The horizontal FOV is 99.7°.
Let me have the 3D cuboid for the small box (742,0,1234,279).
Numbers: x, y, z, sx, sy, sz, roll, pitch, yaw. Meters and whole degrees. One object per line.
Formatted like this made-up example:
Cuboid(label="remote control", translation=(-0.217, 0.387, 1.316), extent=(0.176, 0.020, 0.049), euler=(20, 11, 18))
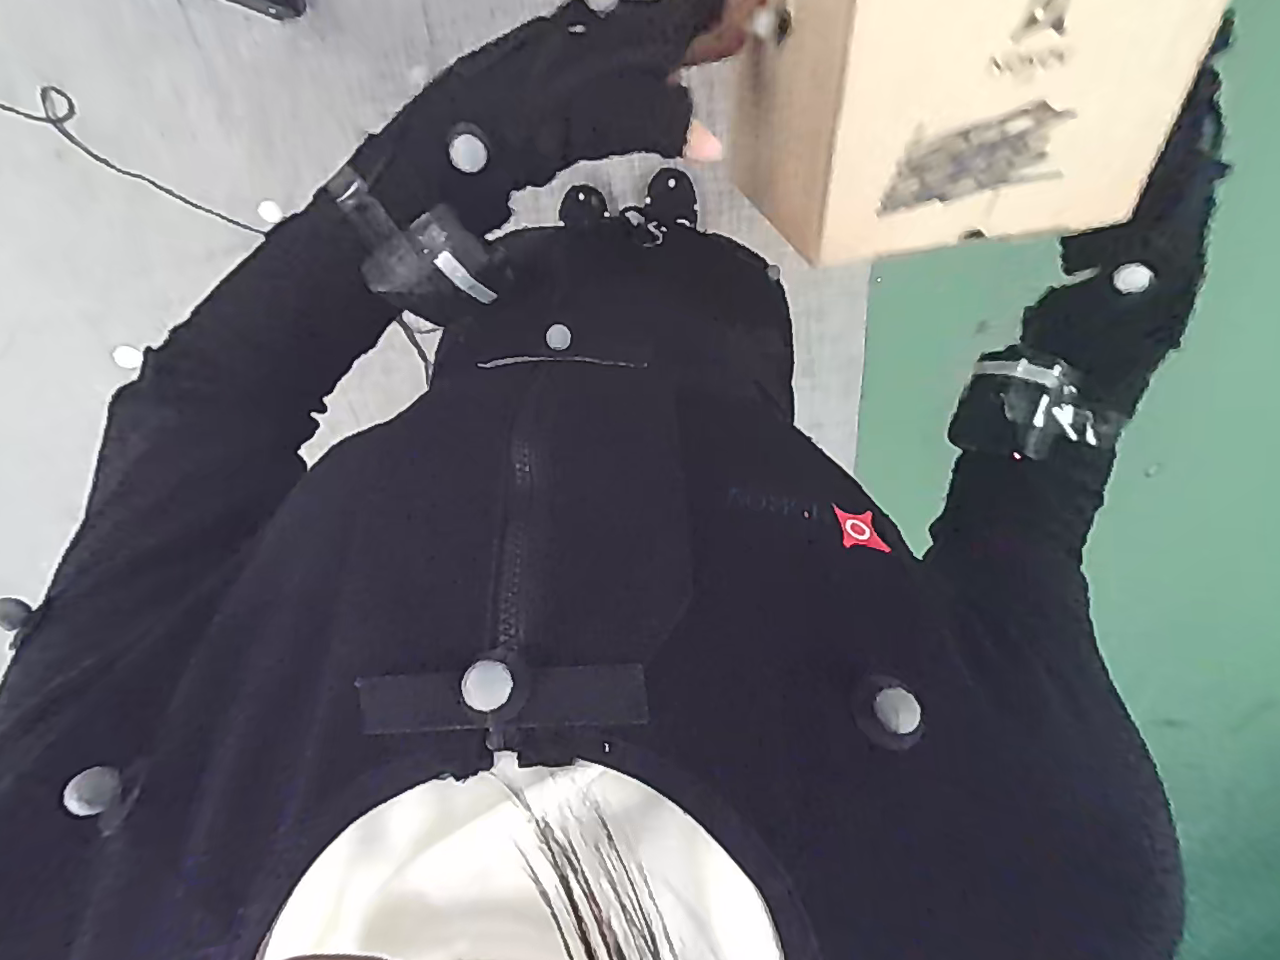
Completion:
Cuboid(label="small box", translation=(0.157, -0.234, 0.291), extent=(0.168, 0.176, 0.179), euler=(-8, 133, -2))
